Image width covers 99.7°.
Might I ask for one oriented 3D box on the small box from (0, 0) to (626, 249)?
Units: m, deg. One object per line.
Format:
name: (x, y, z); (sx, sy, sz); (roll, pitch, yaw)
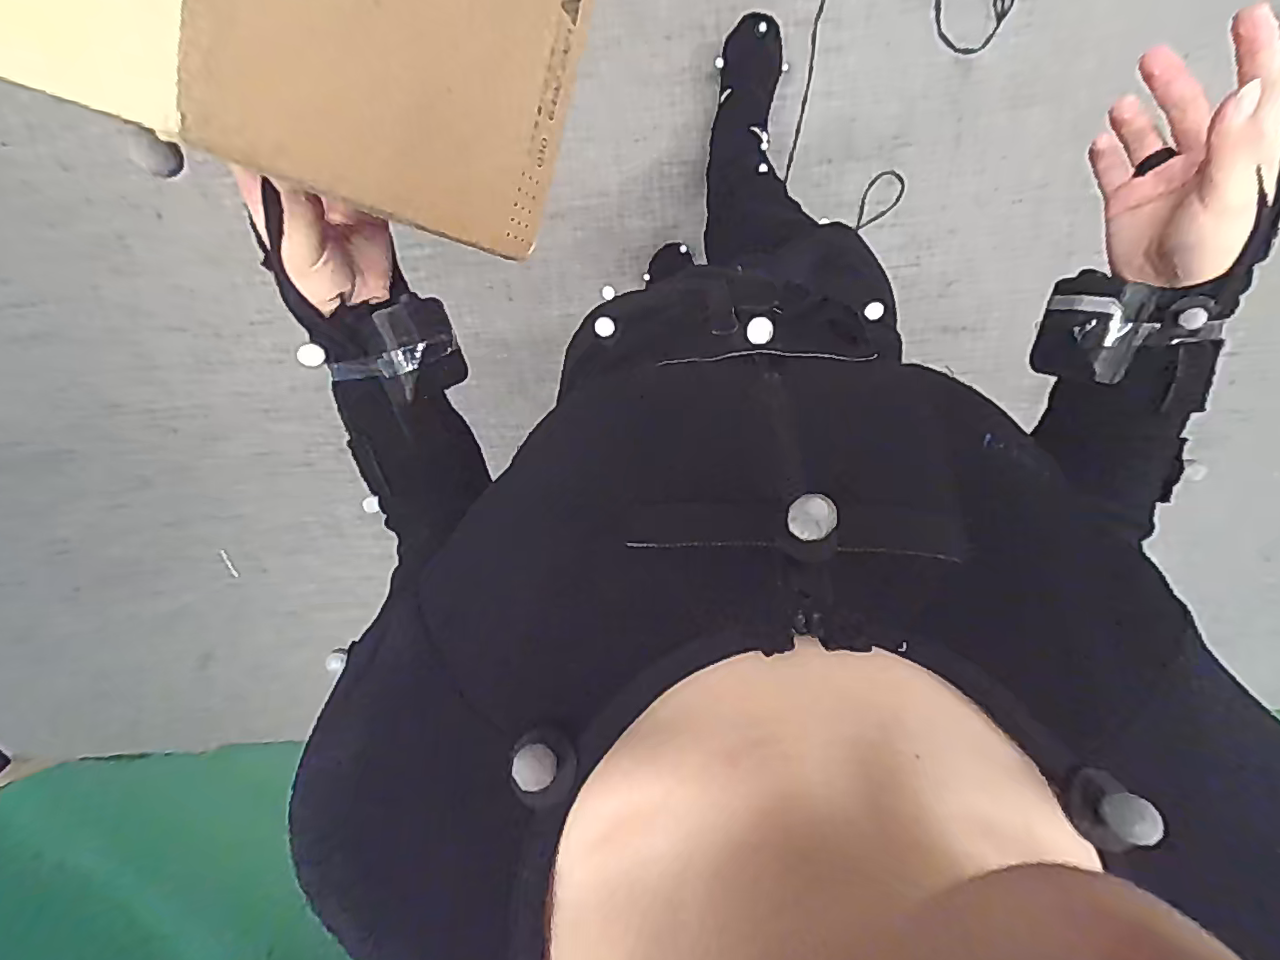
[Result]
small box: (-0.119, -0.197, 0.190); (0.179, 0.176, 0.168); (22, 108, 11)
